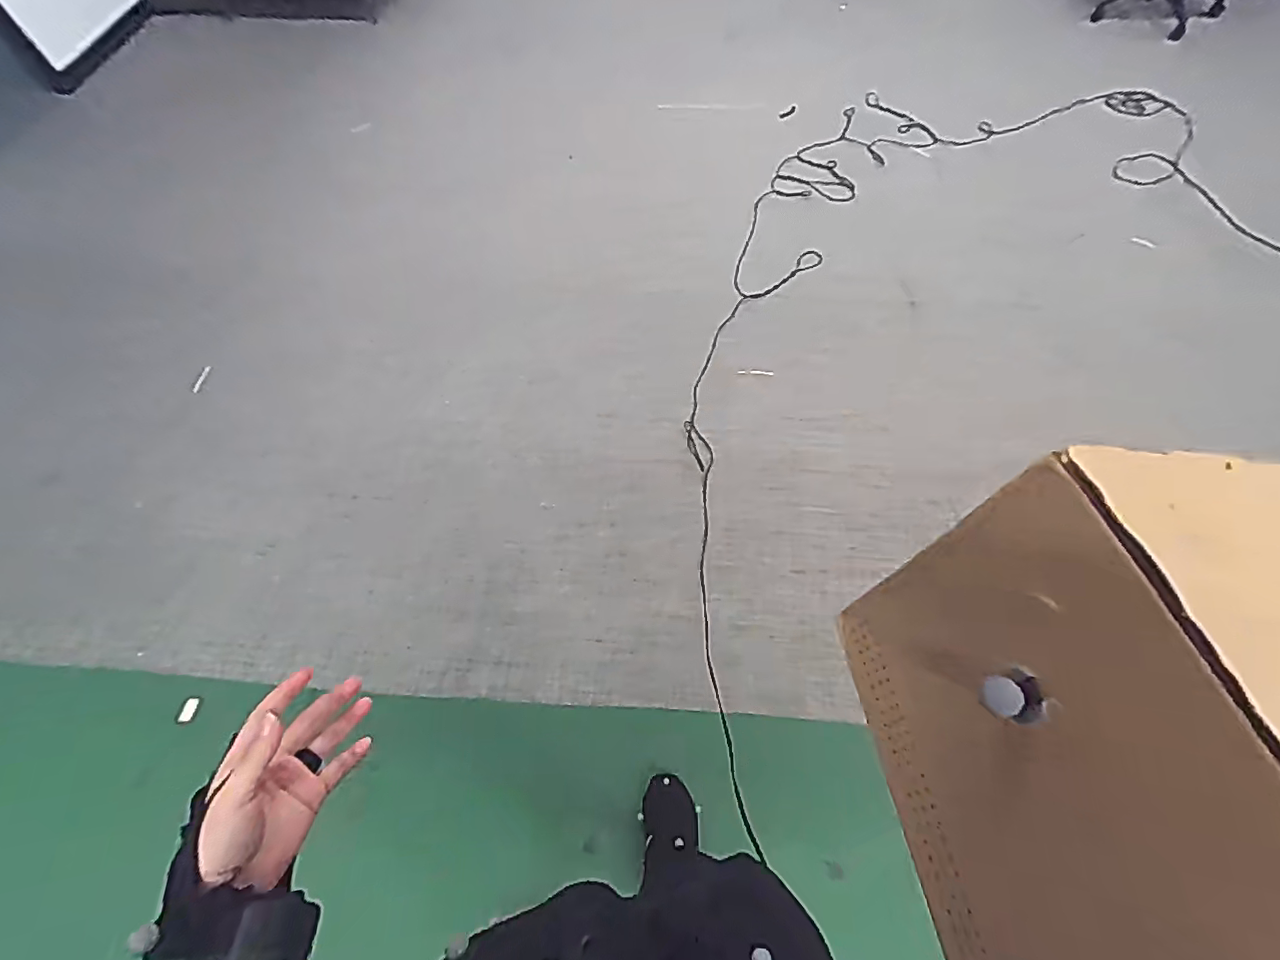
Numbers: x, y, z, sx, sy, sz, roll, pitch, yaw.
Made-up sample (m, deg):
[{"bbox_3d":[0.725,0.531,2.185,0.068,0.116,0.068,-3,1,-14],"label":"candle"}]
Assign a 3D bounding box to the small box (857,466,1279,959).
[{"bbox_3d":[0.231,0.115,0.243,0.168,0.176,0.179,2,53,-13],"label":"small box"}]
